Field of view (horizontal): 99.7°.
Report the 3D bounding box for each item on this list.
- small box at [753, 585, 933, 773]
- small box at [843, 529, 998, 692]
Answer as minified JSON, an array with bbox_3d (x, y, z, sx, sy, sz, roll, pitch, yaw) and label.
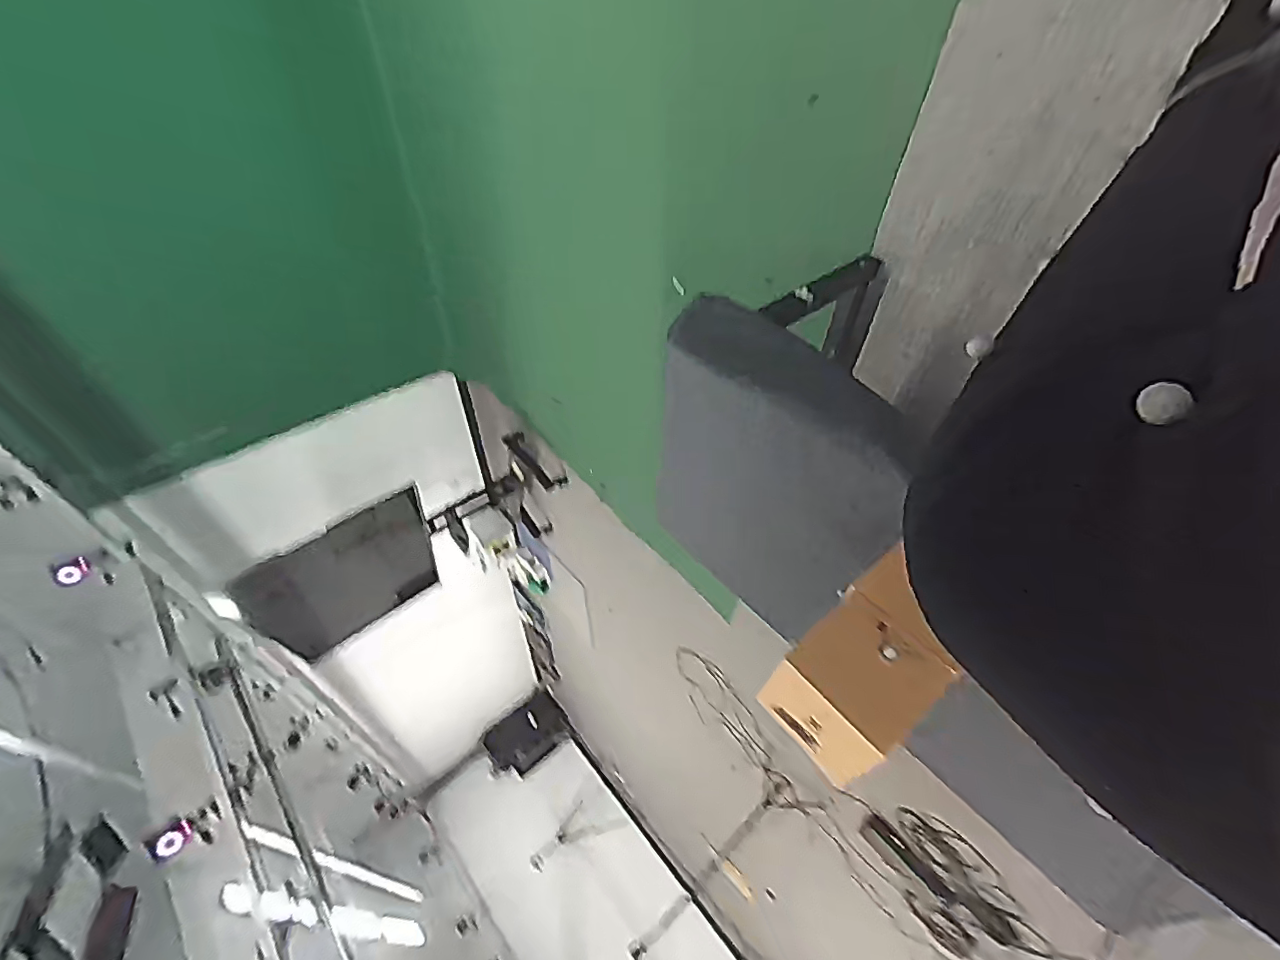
[{"bbox_3d":[0.297,0.294,0.808,0.168,0.176,0.179,43,152,29],"label":"small box"},{"bbox_3d":[0.426,0.212,0.871,0.179,0.176,0.168,43,150,27],"label":"small box"}]
